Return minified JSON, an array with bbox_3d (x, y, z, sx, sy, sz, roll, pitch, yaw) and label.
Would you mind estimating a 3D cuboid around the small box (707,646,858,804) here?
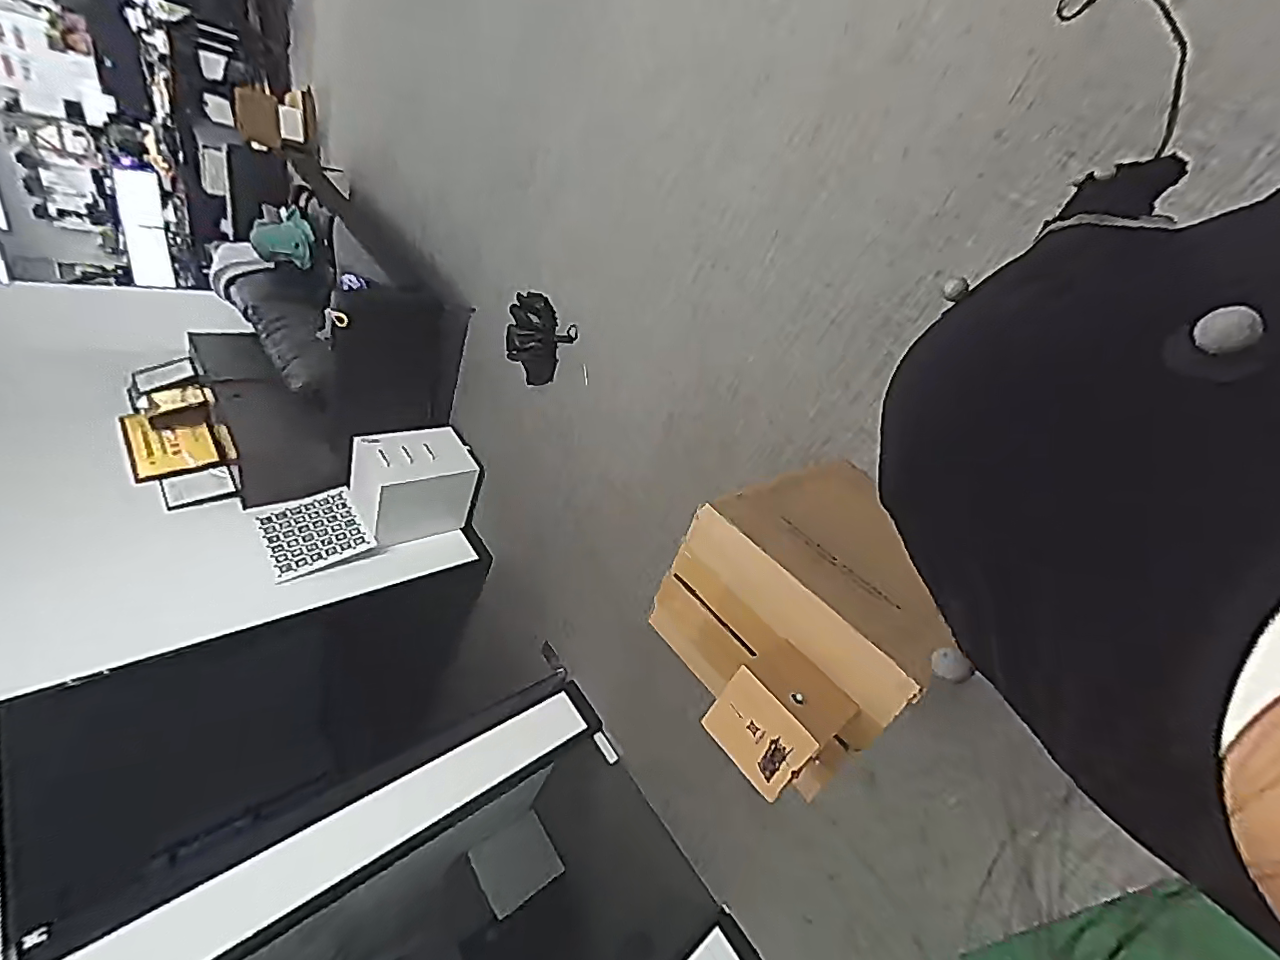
[{"bbox_3d":[0.264,0.435,0.991,0.179,0.176,0.168,43,119,32],"label":"small box"}]
